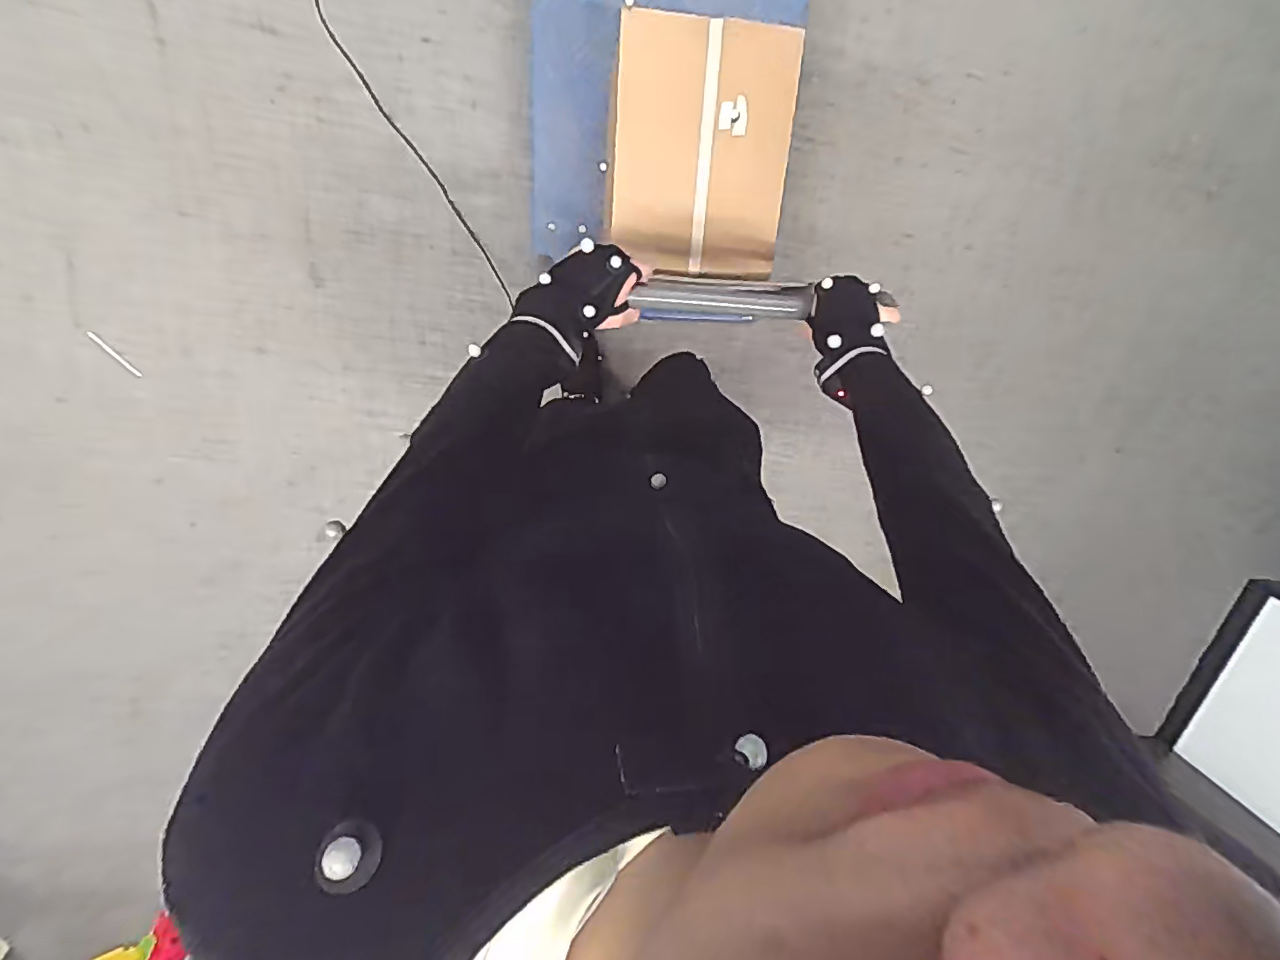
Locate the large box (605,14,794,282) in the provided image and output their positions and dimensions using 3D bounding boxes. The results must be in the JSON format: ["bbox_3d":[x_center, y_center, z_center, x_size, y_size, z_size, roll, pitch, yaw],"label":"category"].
[{"bbox_3d":[0.088,-0.621,1.102,0.320,0.320,0.408,0,109,-8],"label":"large box"}]
